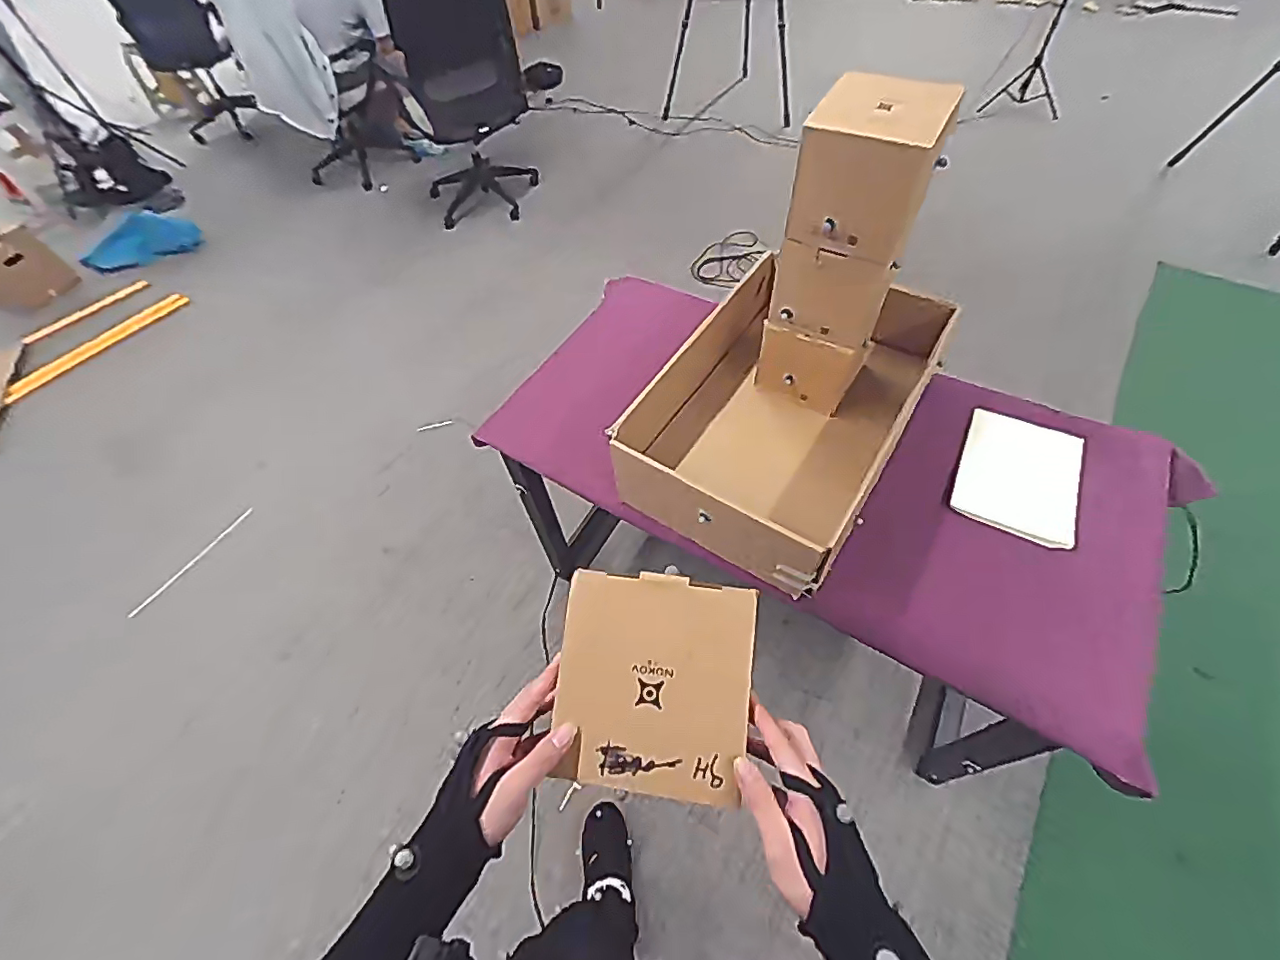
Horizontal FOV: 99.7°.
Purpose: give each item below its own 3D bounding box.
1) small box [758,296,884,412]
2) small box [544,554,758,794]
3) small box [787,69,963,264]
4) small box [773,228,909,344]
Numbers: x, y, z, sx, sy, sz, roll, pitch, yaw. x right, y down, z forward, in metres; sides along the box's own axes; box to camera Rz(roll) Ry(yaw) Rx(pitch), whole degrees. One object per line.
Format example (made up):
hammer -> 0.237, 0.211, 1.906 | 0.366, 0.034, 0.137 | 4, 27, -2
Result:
small box -> 0.343, -0.268, 1.053 | 0.168, 0.176, 0.179 | 26, 63, 19
small box -> 0.019, 0.177, 0.541 | 0.168, 0.176, 0.179 | 7, 79, 9
small box -> 0.328, -0.450, 0.782 | 0.168, 0.176, 0.179 | 25, 63, 19
small box -> 0.337, -0.363, 0.919 | 0.168, 0.176, 0.179 | 25, 62, 19
